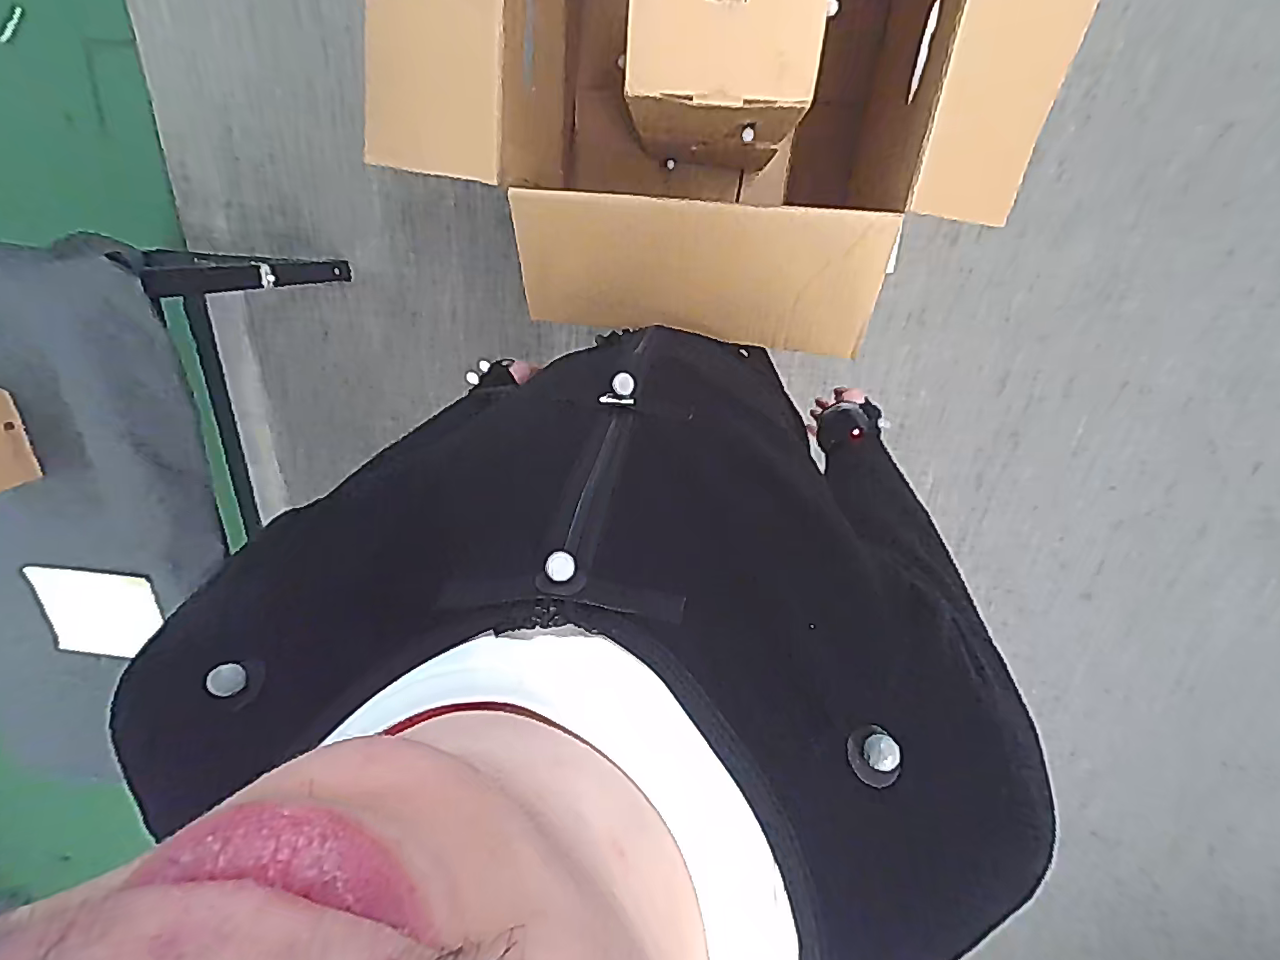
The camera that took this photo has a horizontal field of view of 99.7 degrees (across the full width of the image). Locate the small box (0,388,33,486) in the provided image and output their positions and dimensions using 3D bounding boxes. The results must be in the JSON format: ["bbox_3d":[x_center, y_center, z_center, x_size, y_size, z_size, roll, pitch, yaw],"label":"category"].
[{"bbox_3d":[-1.168,-0.063,0.882,0.179,0.176,0.168,5,114,3],"label":"small box"}]
